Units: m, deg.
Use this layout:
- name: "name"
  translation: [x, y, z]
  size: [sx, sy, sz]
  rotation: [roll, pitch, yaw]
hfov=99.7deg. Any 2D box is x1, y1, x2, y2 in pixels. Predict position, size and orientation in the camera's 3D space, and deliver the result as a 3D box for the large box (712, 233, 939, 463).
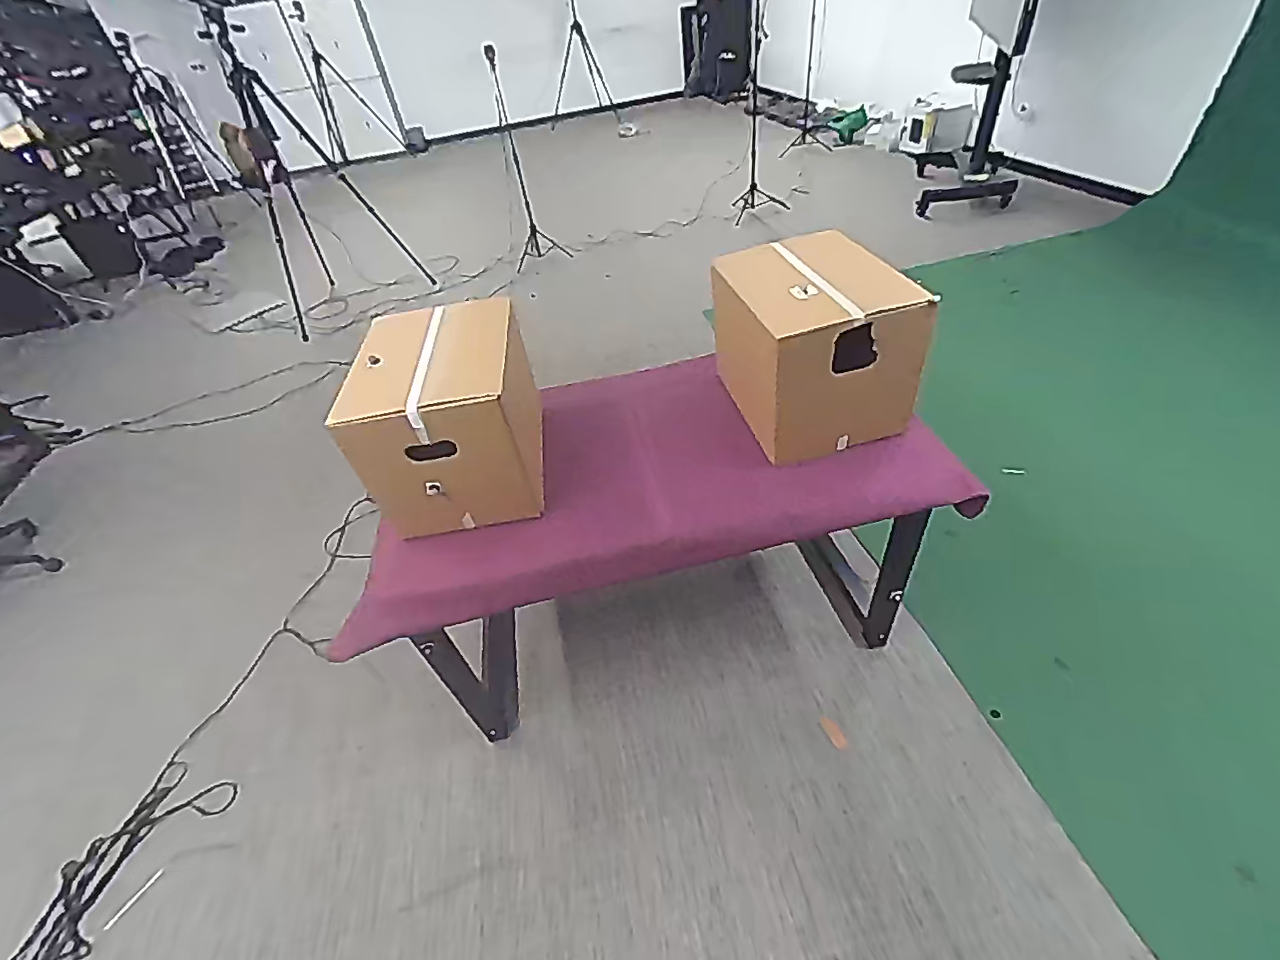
- name: "large box"
  translation: [0.374, -0.304, 1.213]
  size: [0.320, 0.320, 0.408]
  rotation: [-15, 44, -2]
